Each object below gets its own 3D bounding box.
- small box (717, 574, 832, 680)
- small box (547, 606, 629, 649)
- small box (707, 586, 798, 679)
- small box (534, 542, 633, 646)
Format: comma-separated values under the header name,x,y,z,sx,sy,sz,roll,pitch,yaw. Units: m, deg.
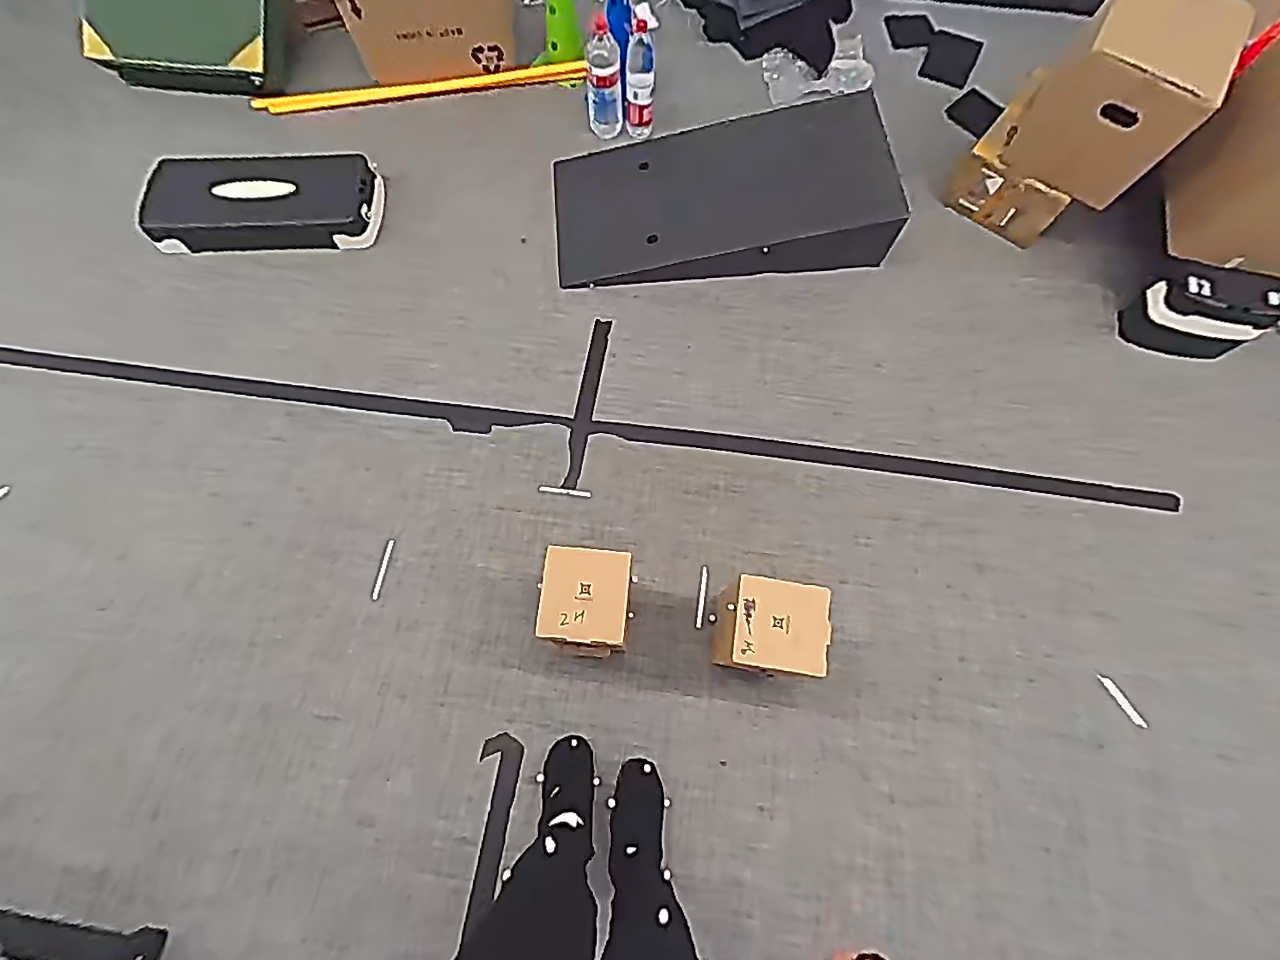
name,x,y,z,sx,sy,sz,roll,pitch,yaw
small box,0.262,0.294,1.077,0.179,0.176,0.168,10,71,2
small box,-0.111,0.293,1.243,0.168,0.176,0.179,4,71,0
small box,0.260,0.347,1.232,0.179,0.176,0.168,11,72,4
small box,-0.106,0.234,1.089,0.168,0.176,0.179,6,72,1
